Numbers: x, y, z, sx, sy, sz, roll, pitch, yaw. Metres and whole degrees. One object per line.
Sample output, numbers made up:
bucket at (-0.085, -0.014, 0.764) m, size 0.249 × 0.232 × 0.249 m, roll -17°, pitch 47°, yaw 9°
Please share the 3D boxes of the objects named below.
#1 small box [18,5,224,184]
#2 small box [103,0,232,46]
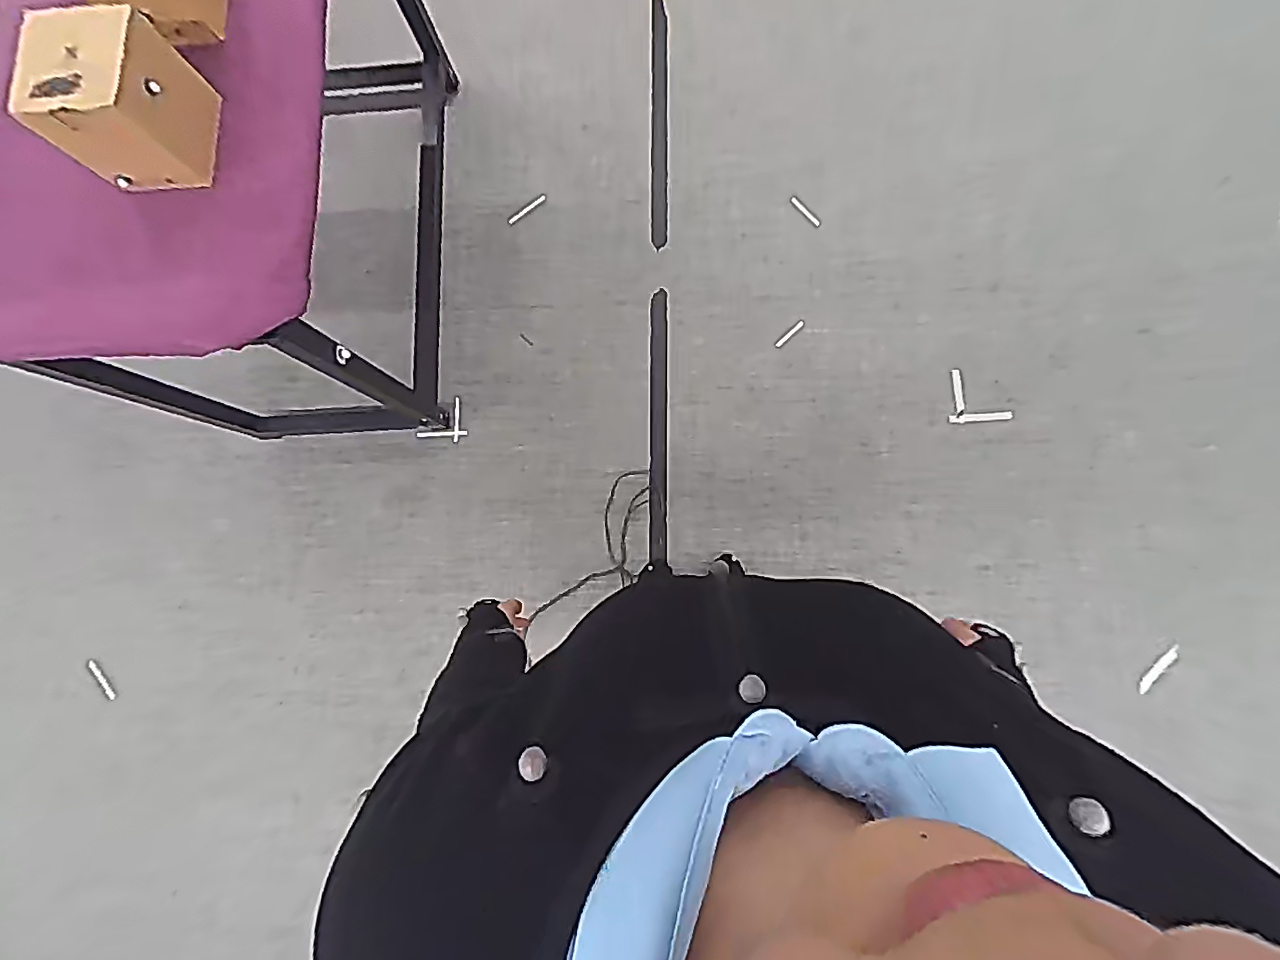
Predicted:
small box at (-0.815, -0.602, 0.868) m, size 0.168 × 0.176 × 0.179 m, roll -1°, pitch 81°, yaw 3°
small box at (-0.827, -0.884, 0.911) m, size 0.168 × 0.176 × 0.179 m, roll 0°, pitch 82°, yaw 3°
